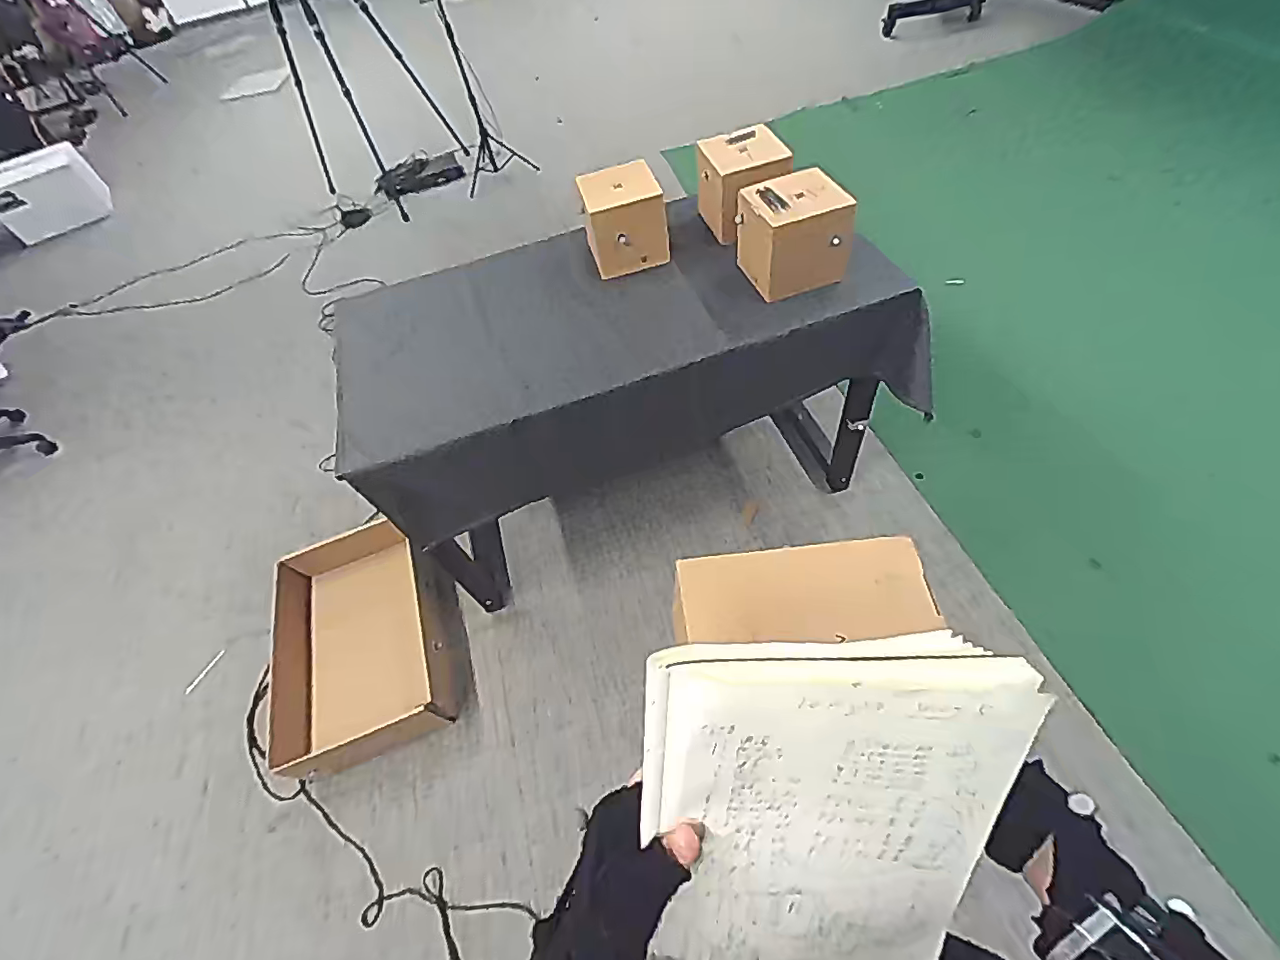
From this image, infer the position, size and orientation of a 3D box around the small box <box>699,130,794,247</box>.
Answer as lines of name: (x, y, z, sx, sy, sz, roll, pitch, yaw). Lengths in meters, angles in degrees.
small box: (0.242, -0.680, 1.267, 0.168, 0.176, 0.179, -17, 54, -2)

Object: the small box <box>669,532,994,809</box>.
small box: (0.120, 0.153, 0.425, 0.179, 0.176, 0.168, -5, 61, -2)

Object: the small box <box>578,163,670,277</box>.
small box: (-0.034, -0.593, 1.255, 0.168, 0.176, 0.179, -16, 53, -2)
